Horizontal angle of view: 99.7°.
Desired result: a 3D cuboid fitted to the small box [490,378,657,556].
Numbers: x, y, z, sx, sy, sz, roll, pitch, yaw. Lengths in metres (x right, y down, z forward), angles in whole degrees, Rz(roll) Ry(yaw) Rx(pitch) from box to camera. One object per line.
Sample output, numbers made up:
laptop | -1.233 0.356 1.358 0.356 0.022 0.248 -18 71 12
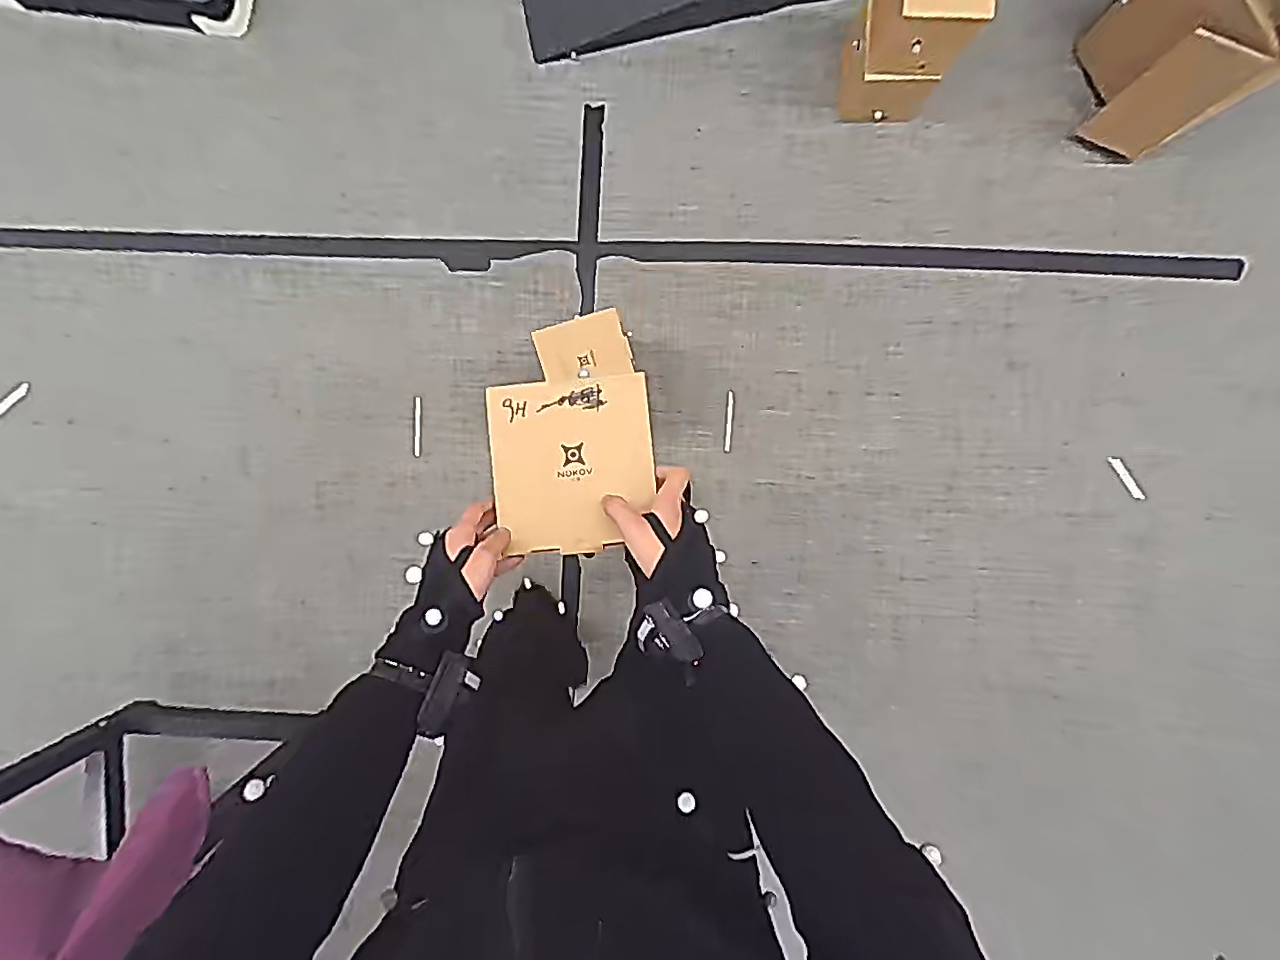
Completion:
small box | -0.068 -0.012 0.637 0.168 0.176 0.179 -5 87 -1
